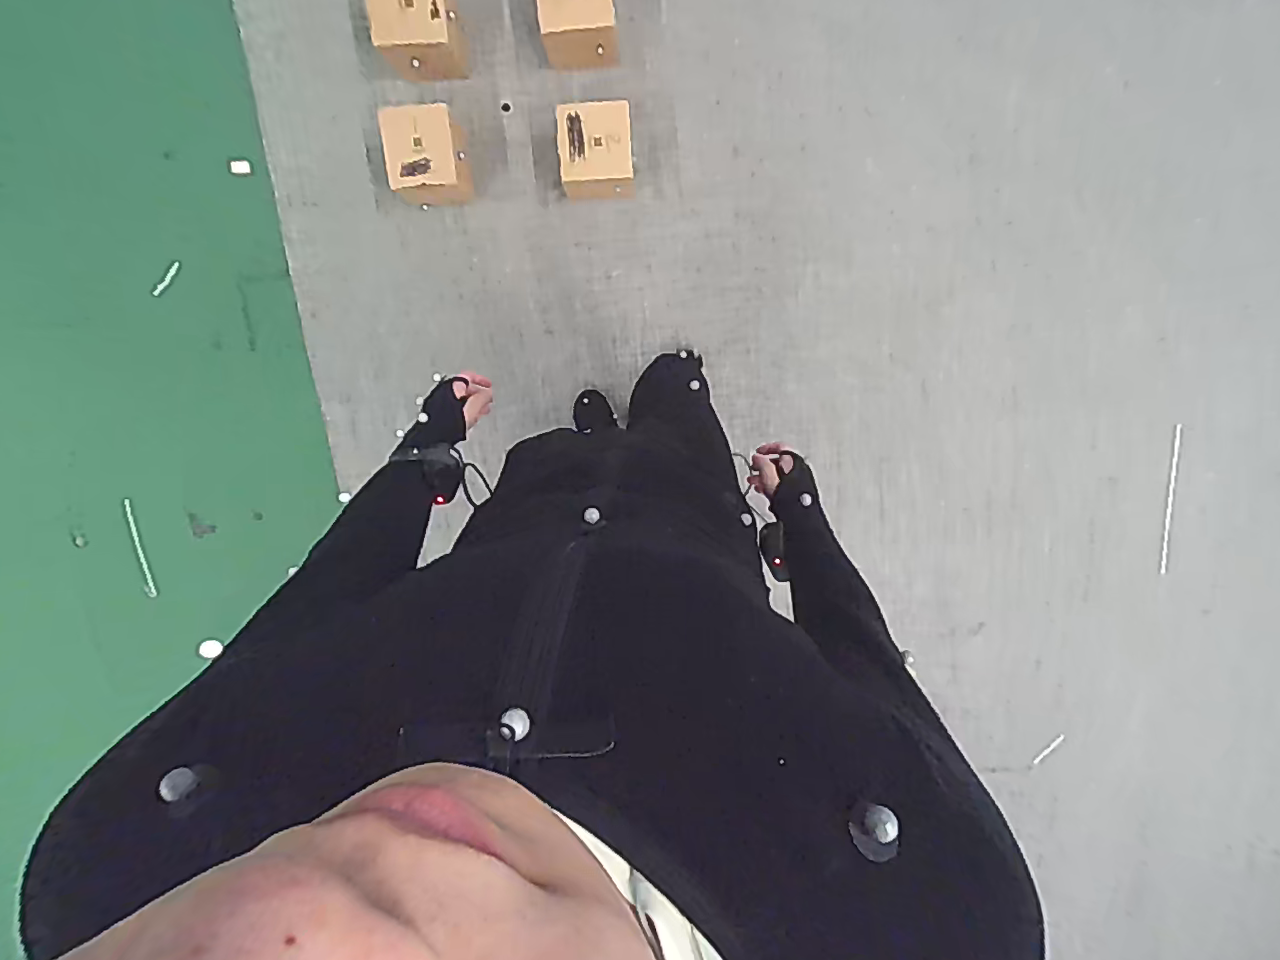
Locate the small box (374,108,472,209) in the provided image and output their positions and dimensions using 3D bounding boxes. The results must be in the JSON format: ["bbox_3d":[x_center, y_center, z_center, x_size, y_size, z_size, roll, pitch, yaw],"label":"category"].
[{"bbox_3d":[-0.531,-0.790,1.348,0.168,0.176,0.179,-4,102,0],"label":"small box"}]

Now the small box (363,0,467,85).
[{"bbox_3d":[-0.531,-1.073,1.286,0.179,0.176,0.168,-2,103,0],"label":"small box"}]

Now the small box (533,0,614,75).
[{"bbox_3d":[-0.155,-1.103,1.285,0.179,0.176,0.168,-5,102,1],"label":"small box"}]
